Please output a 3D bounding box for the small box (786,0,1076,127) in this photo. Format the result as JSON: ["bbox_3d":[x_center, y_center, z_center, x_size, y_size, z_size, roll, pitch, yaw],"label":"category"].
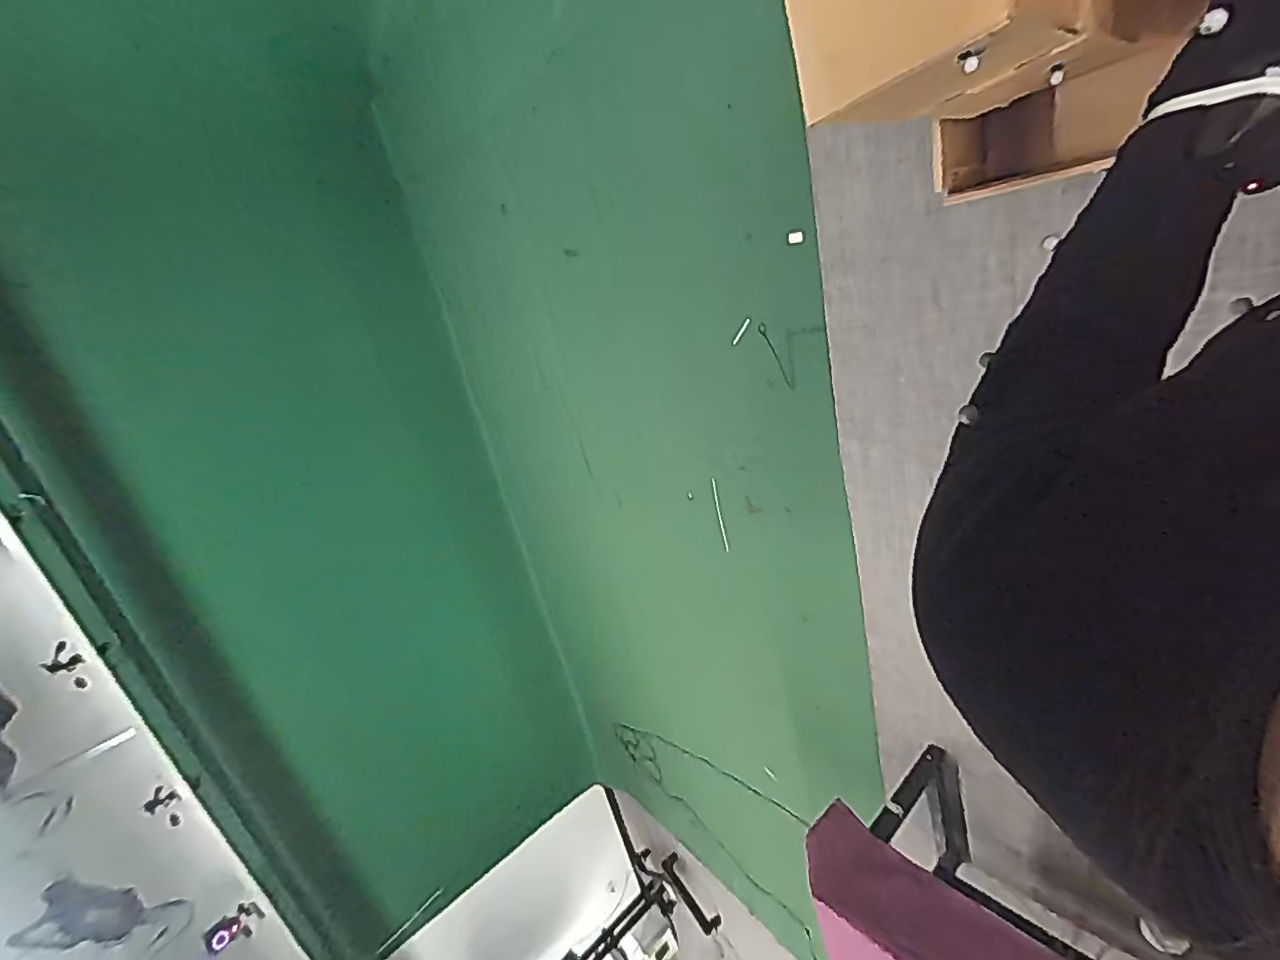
[{"bbox_3d":[0.256,-0.443,0.484,0.179,0.176,0.168,4,116,52],"label":"small box"}]

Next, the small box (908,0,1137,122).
[{"bbox_3d":[0.388,-0.504,0.559,0.168,0.176,0.179,7,118,52],"label":"small box"}]
